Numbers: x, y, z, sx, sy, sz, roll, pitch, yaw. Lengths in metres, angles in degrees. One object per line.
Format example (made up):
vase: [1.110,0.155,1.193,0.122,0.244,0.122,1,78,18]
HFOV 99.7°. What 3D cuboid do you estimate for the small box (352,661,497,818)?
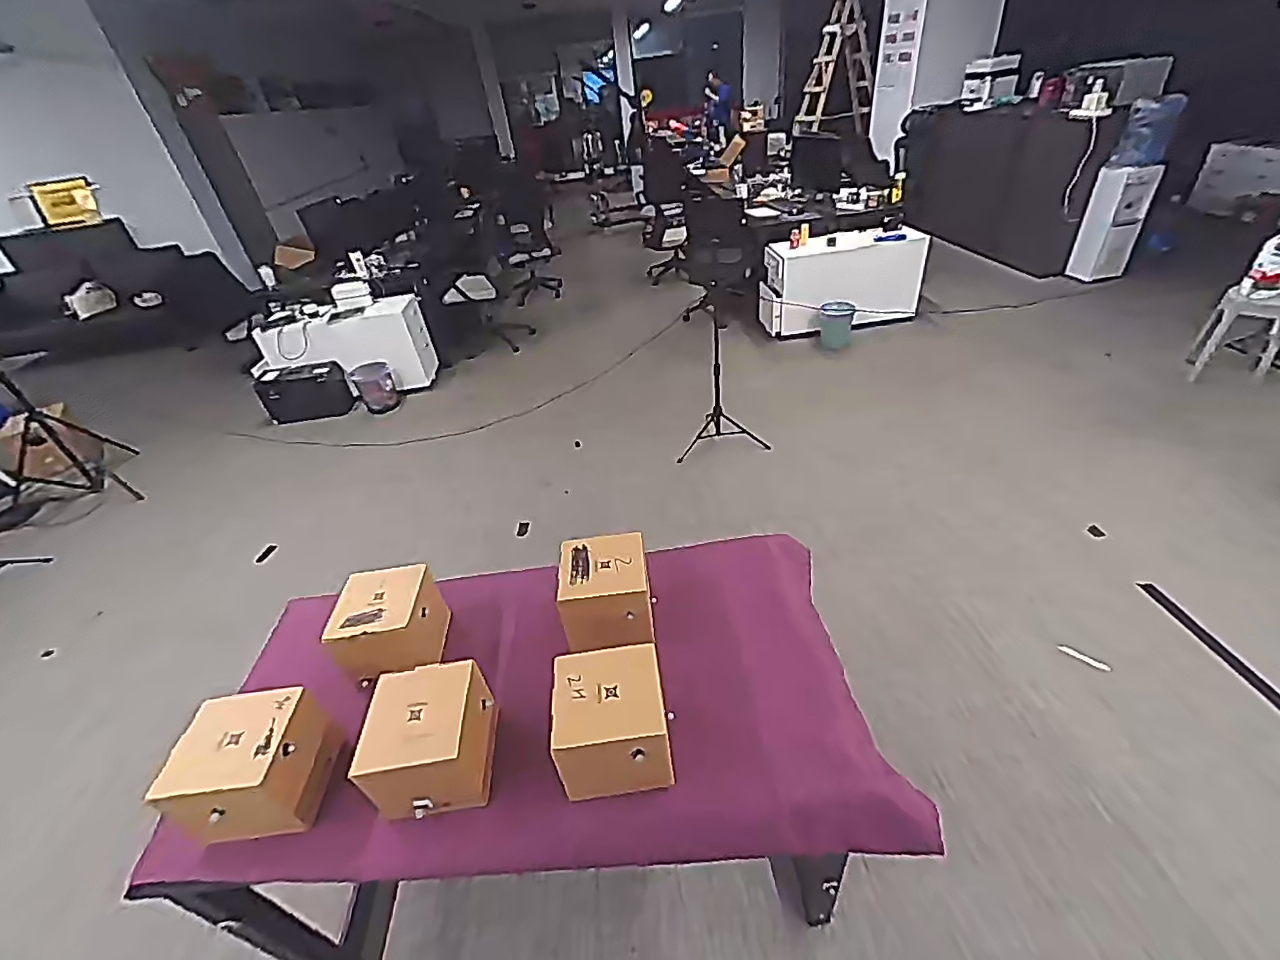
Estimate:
small box: [-0.351,0.441,0.922,0.168,0.176,0.179,-9,38,0]

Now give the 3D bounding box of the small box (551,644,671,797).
small box: [-0.044,0.404,0.909,0.179,0.176,0.168,-8,36,0]

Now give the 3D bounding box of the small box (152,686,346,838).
small box: [-0.644,0.480,0.918,0.179,0.176,0.168,-8,37,0]

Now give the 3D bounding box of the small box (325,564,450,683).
small box: [-0.514,0.306,1.133,0.168,0.176,0.179,-8,36,-1]
